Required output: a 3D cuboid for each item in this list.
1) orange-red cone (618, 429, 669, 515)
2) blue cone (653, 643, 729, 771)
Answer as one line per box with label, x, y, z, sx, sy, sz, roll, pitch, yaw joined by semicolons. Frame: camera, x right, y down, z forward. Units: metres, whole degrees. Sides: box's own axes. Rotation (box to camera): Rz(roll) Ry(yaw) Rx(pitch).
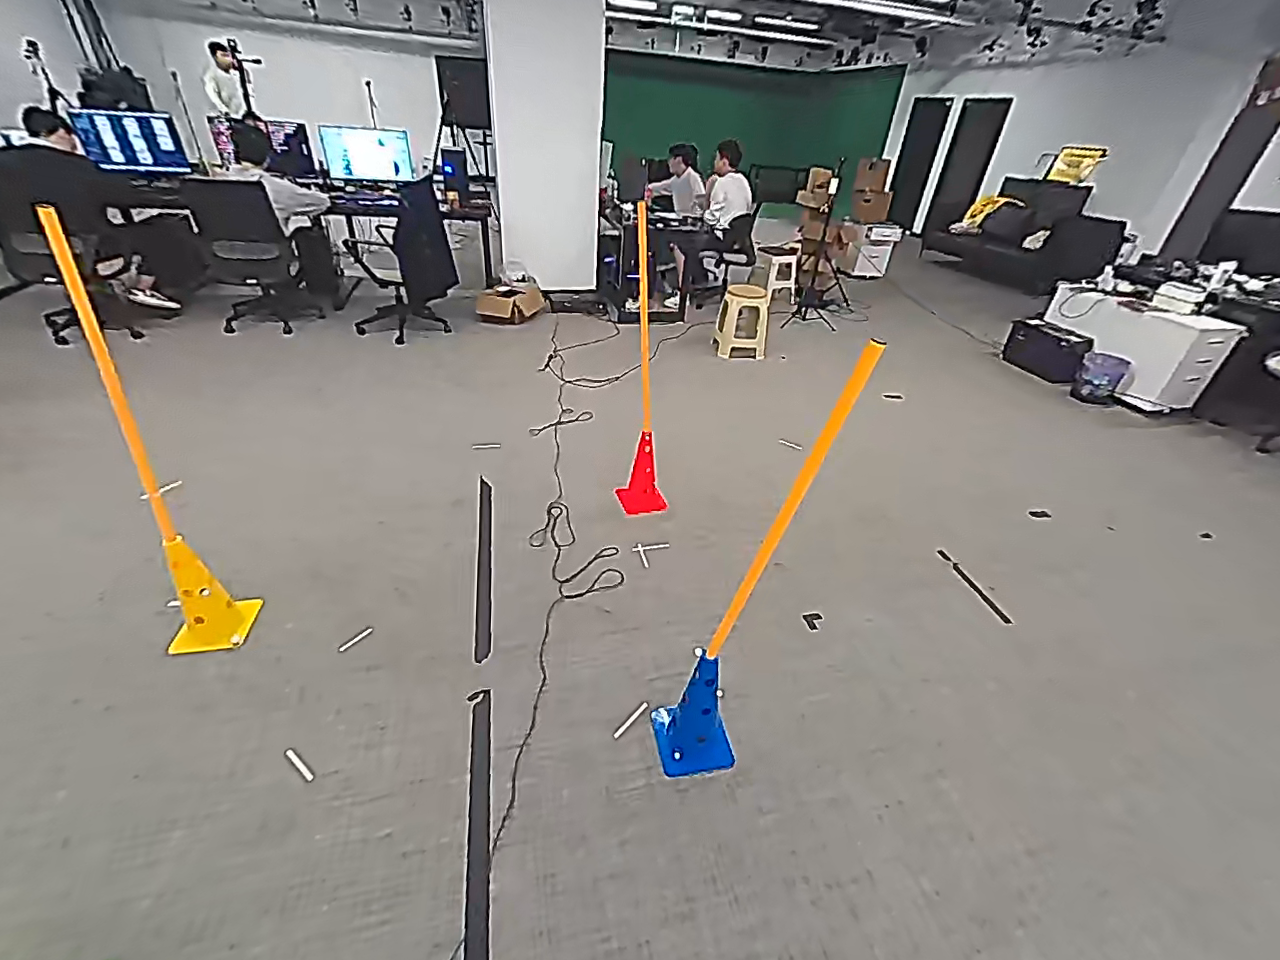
orange-red cone;0.024;-0.053;2.326;0.199;0.360;0.198;-8;35;-16
blue cone;0.154;0.575;1.419;0.193;0.380;0.192;-2;33;-11
